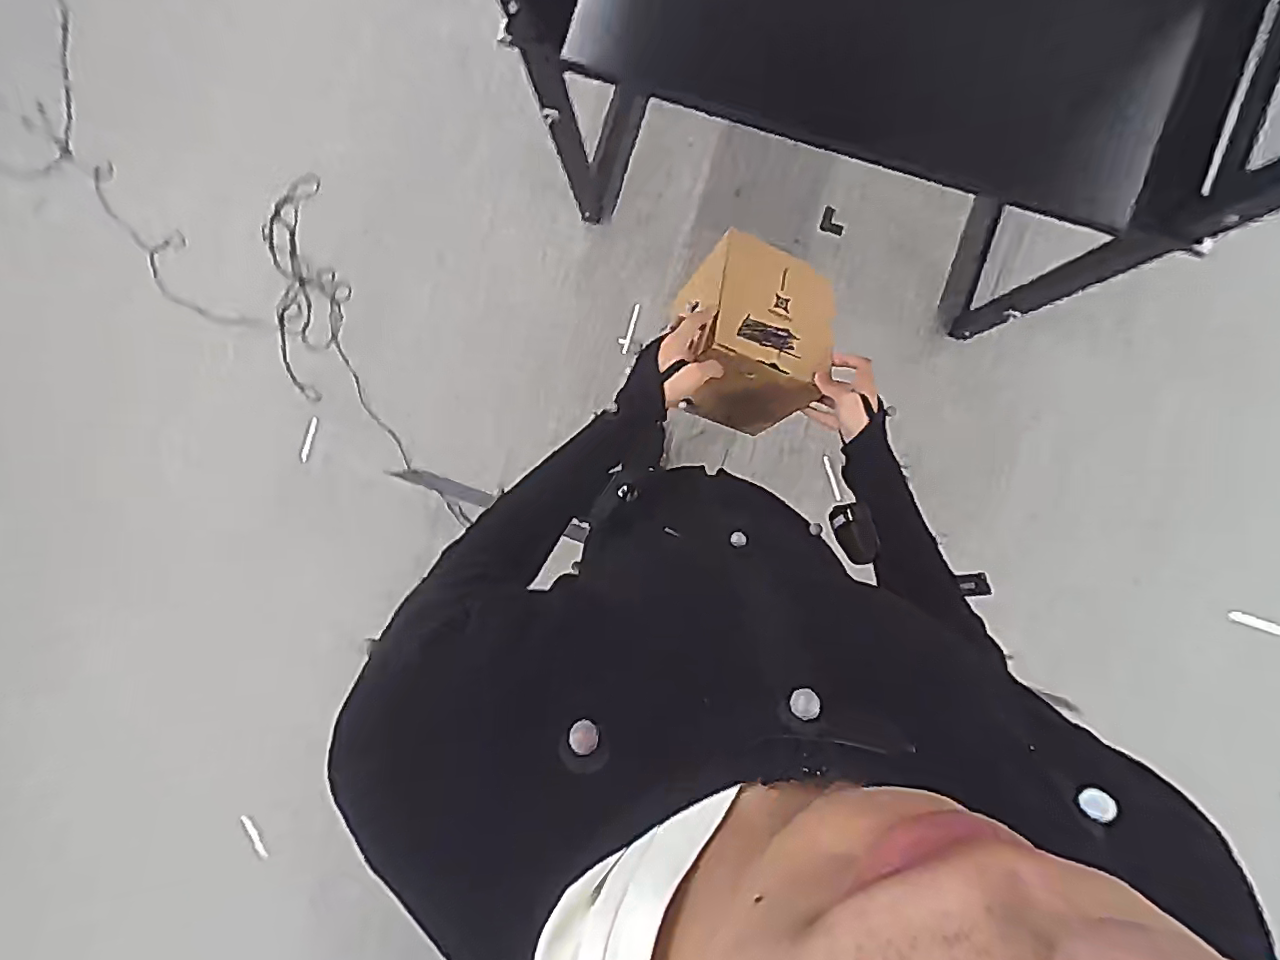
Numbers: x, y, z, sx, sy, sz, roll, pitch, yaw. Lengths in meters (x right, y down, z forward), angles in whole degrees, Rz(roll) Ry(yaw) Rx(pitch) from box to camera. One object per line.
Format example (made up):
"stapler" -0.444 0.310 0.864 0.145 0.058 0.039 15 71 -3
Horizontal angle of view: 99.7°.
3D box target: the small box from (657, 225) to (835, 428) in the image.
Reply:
"small box" 0.136 -0.191 0.728 0.168 0.176 0.179 18 69 -17
